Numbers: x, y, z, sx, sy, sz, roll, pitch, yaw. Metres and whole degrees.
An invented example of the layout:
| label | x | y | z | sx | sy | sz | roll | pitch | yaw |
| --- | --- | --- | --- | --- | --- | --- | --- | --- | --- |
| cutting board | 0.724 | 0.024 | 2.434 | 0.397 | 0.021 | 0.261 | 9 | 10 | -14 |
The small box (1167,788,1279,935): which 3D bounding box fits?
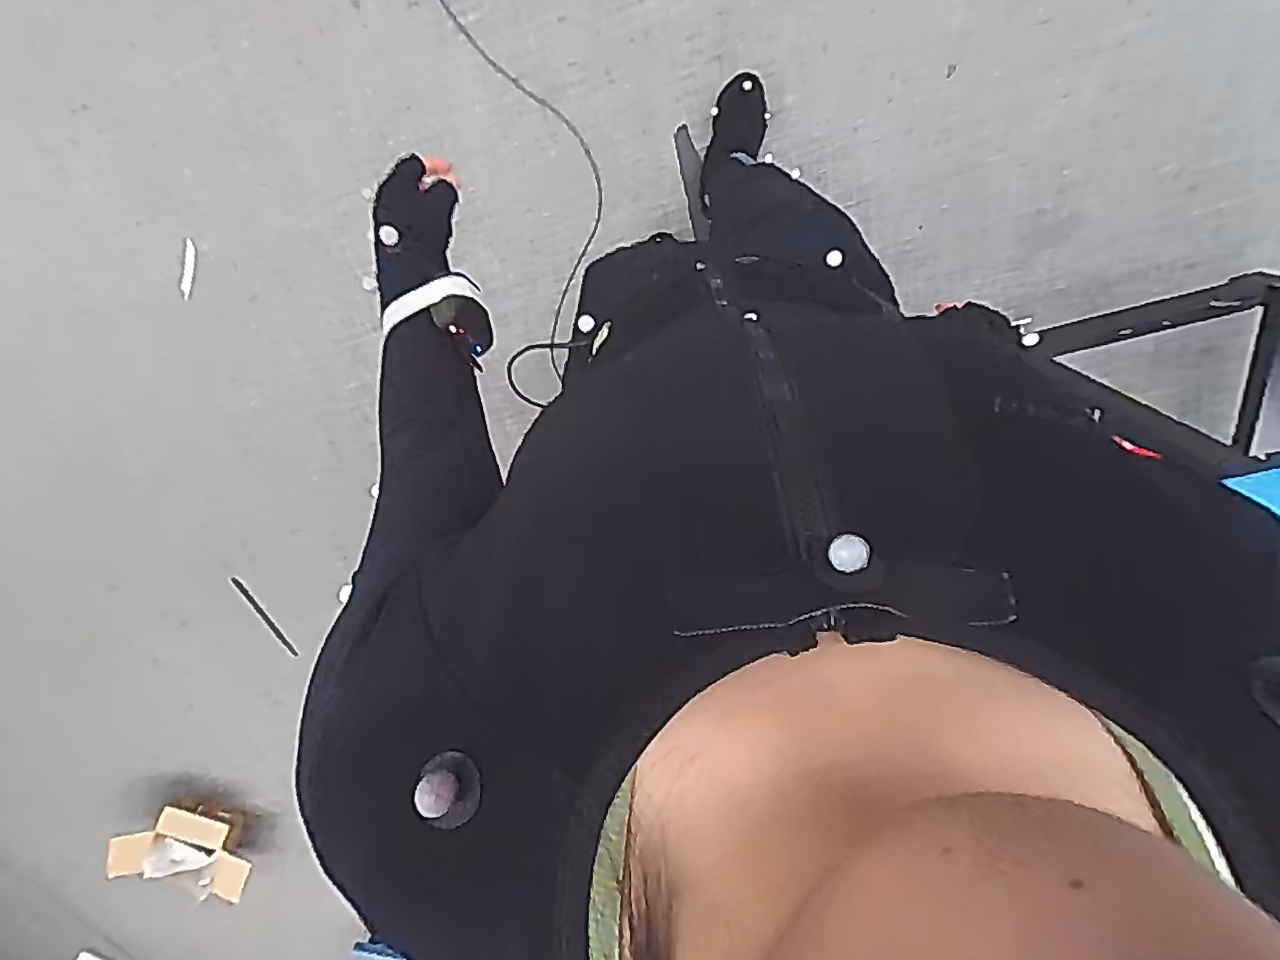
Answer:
| label | x | y | z | sx | sy | sz | roll | pitch | yaw |
| --- | --- | --- | --- | --- | --- | --- | --- | --- | --- |
| small box | 1.133 | 0.700 | 0.984 | 0.179 | 0.176 | 0.168 | -13 | 117 | 11 |
